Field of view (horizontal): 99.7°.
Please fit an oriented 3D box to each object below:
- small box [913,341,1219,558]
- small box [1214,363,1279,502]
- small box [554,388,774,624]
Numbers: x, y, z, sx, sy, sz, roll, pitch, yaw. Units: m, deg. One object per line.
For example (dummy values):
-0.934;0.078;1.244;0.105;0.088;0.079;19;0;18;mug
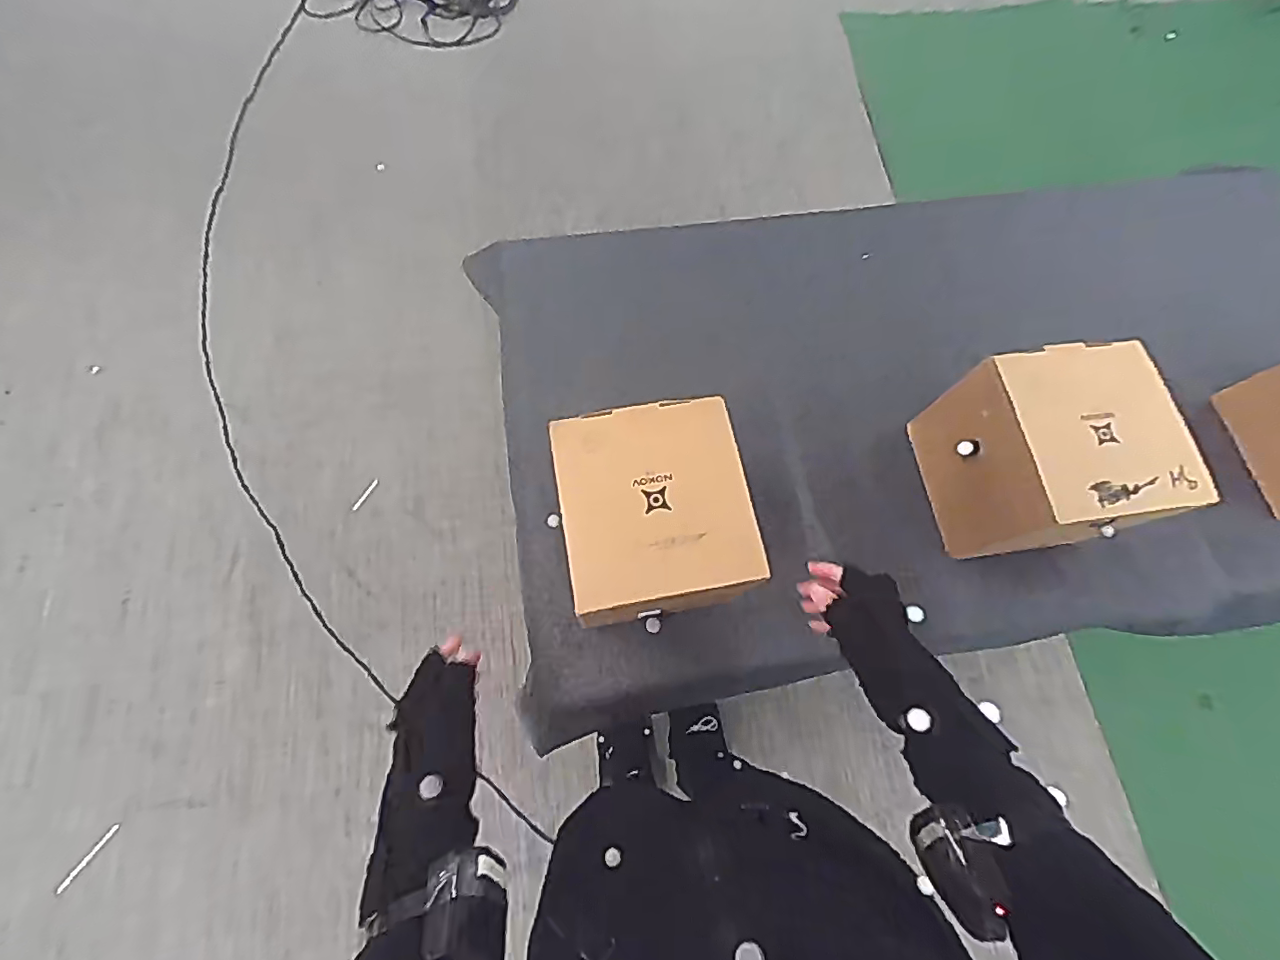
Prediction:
0.433;-0.025;0.589;0.168;0.176;0.179;-7;71;-5;small box
0.851;-0.069;0.622;0.168;0.176;0.179;-7;70;-5;small box
0.013;0.034;0.526;0.168;0.176;0.179;-8;71;-3;small box
